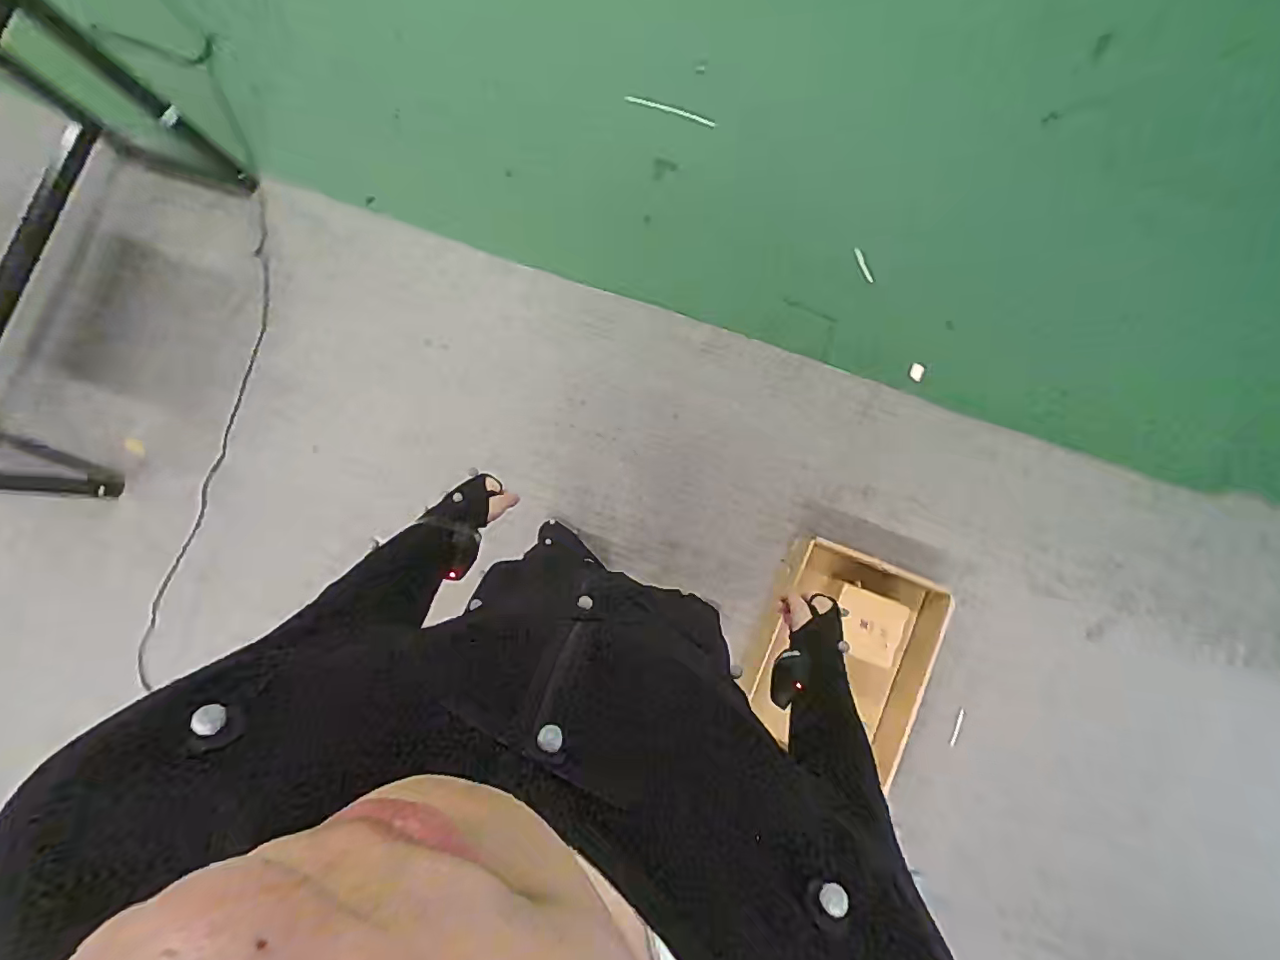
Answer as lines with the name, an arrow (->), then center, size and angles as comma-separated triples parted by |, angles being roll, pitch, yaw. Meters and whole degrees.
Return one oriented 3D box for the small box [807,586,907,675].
small box -> 0.567, 0.391, 1.441 | 0.179, 0.176, 0.168 | 22, 86, 5
